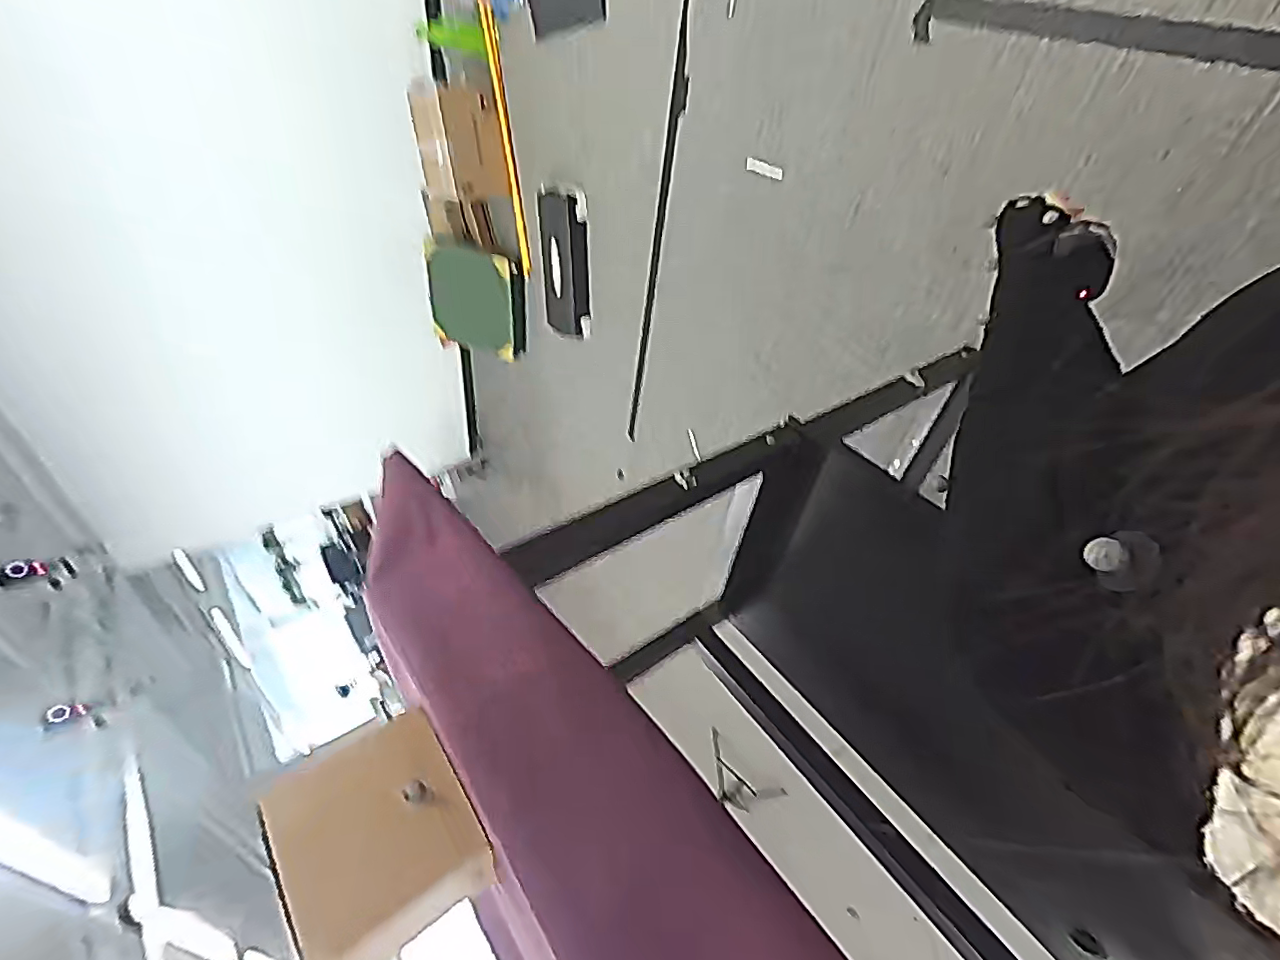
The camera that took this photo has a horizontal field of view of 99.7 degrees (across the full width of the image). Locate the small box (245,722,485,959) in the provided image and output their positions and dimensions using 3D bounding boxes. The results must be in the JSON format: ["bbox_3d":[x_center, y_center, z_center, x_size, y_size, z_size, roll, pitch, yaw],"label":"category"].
[{"bbox_3d":[-0.280,0.391,0.576,0.179,0.176,0.168,45,143,31],"label":"small box"}]
